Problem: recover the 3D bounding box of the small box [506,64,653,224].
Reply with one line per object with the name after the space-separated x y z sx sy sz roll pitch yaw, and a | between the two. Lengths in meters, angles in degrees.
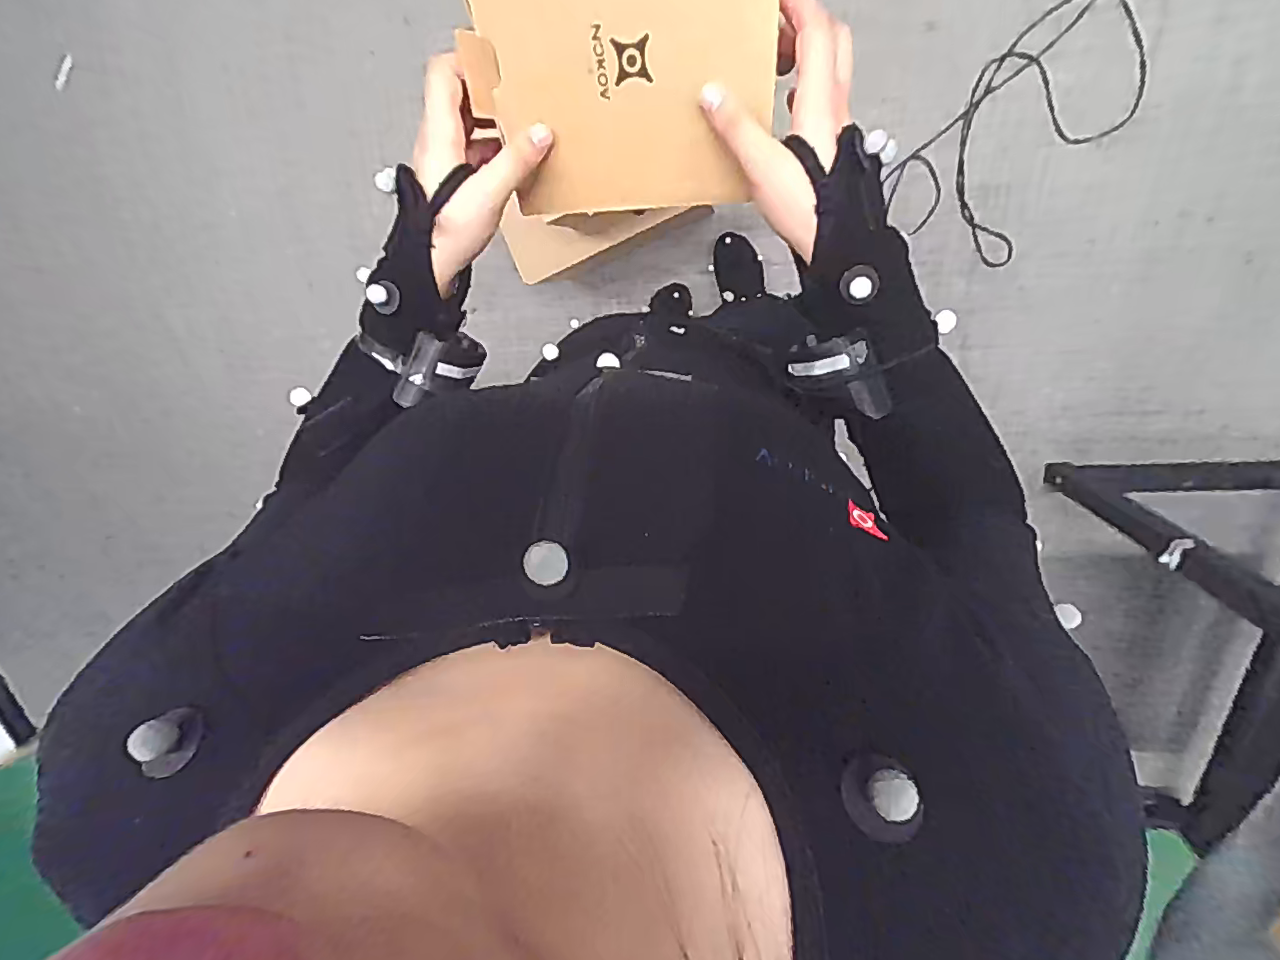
-0.093 -0.555 0.925 0.179 0.176 0.168 -18 109 16 | small box
